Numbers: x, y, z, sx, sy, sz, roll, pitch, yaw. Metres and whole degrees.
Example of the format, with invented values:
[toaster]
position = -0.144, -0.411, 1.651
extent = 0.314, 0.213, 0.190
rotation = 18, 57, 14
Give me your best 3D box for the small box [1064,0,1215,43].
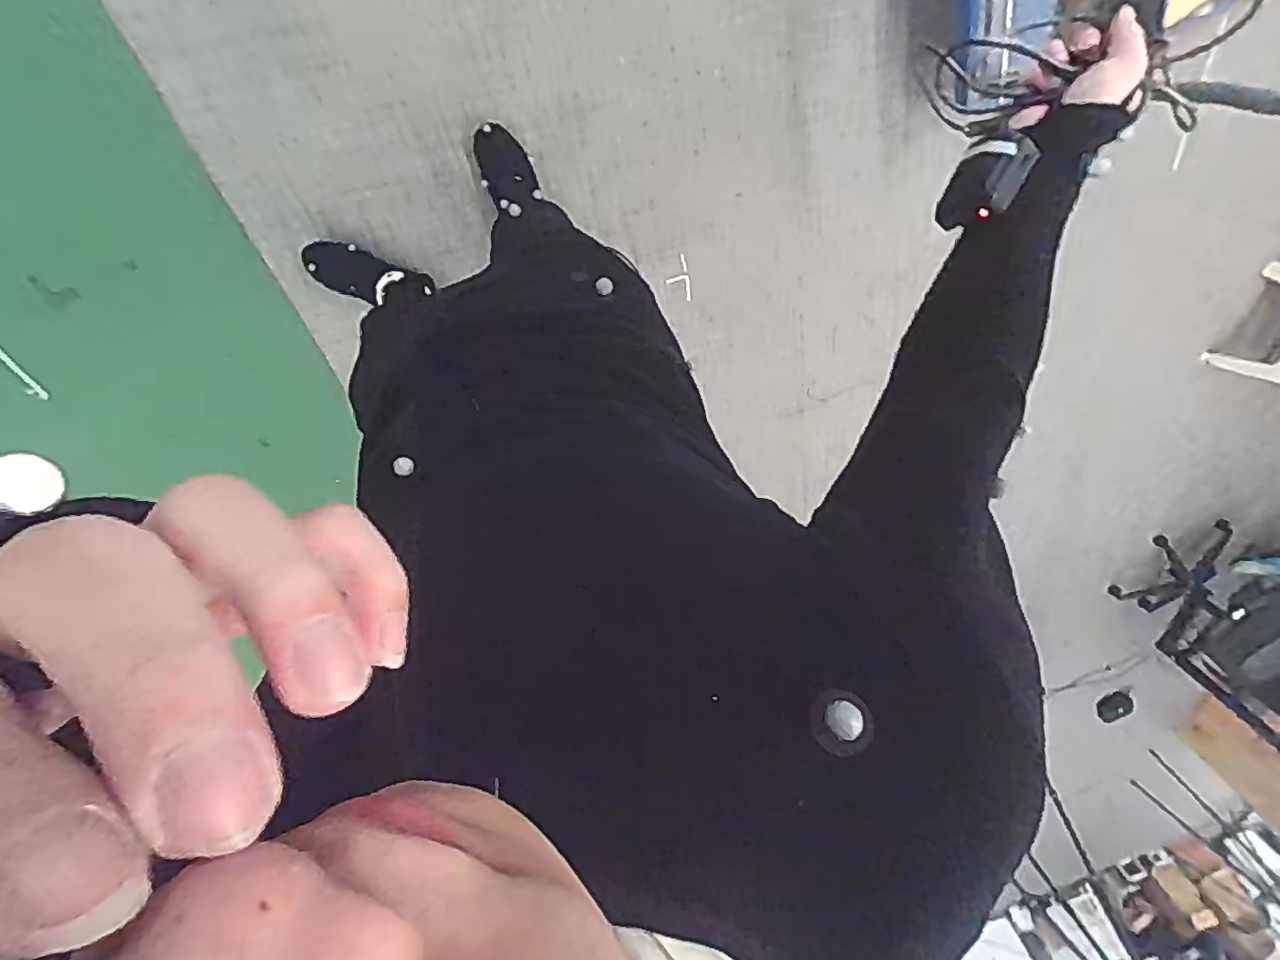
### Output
[small box]
position = 1.006, -1.000, 1.076
extent = 0.179, 0.176, 0.168
rotation = -20, 128, 1
